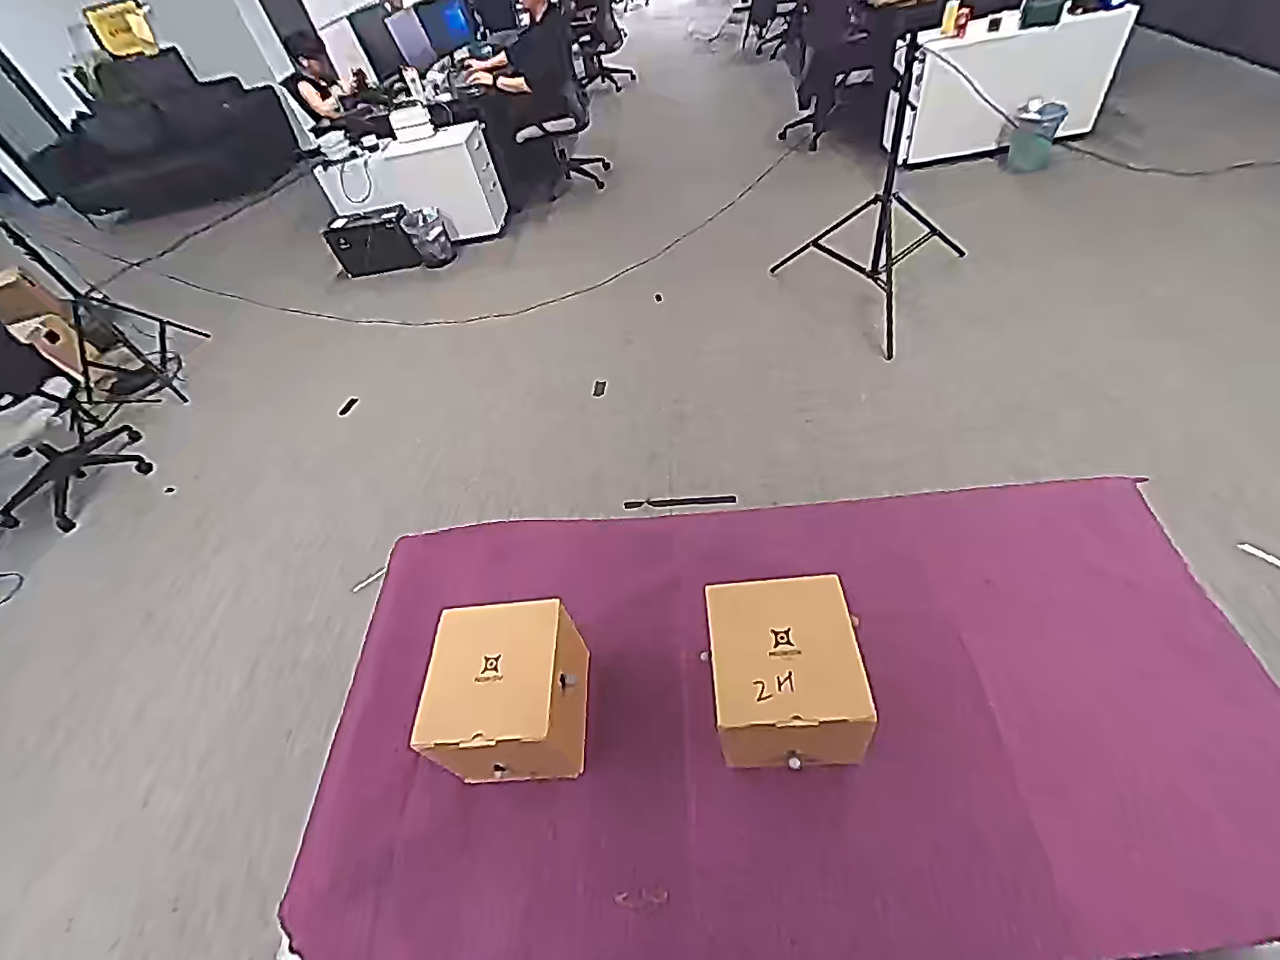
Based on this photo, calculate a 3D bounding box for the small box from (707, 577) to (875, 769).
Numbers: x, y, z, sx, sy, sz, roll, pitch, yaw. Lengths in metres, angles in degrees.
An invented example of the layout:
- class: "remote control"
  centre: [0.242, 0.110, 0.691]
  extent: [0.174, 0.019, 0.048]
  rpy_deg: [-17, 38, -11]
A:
- class: "small box"
  centre: [0.176, 0.245, 0.679]
  extent: [0.168, 0.176, 0.179]
  rpy_deg: [-7, 48, 8]

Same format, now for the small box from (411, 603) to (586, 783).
- class: "small box"
  centre: [-0.172, 0.287, 0.724]
  extent: [0.168, 0.176, 0.179]
  rpy_deg: [-7, 49, 6]
